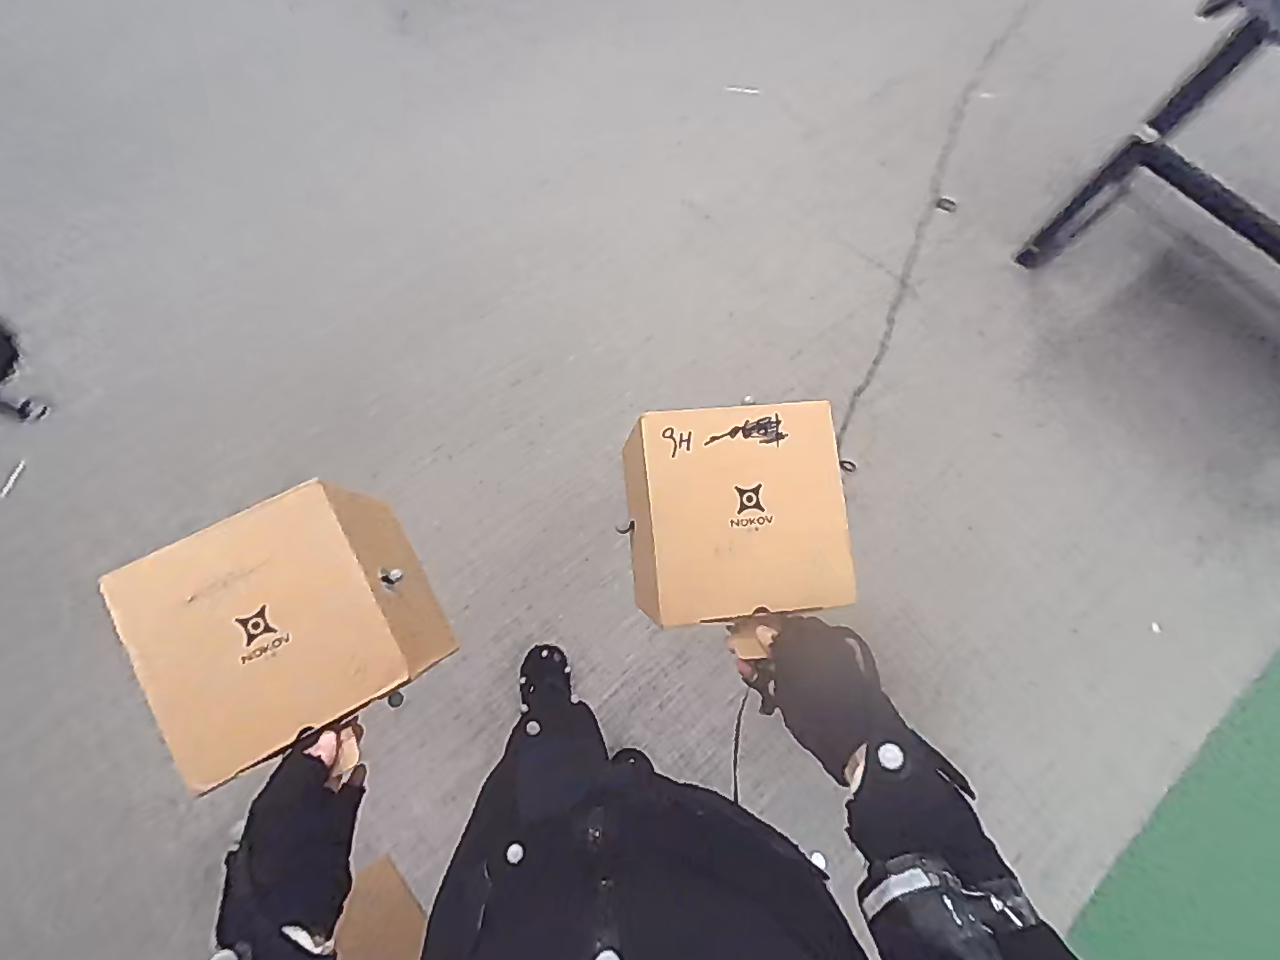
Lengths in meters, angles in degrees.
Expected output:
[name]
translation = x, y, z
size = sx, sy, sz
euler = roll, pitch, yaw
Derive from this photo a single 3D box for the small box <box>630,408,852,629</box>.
[small box]
translation = 0.083, 0.036, 0.528
size = 0.168, 0.176, 0.179
euler = -4, 85, -7
